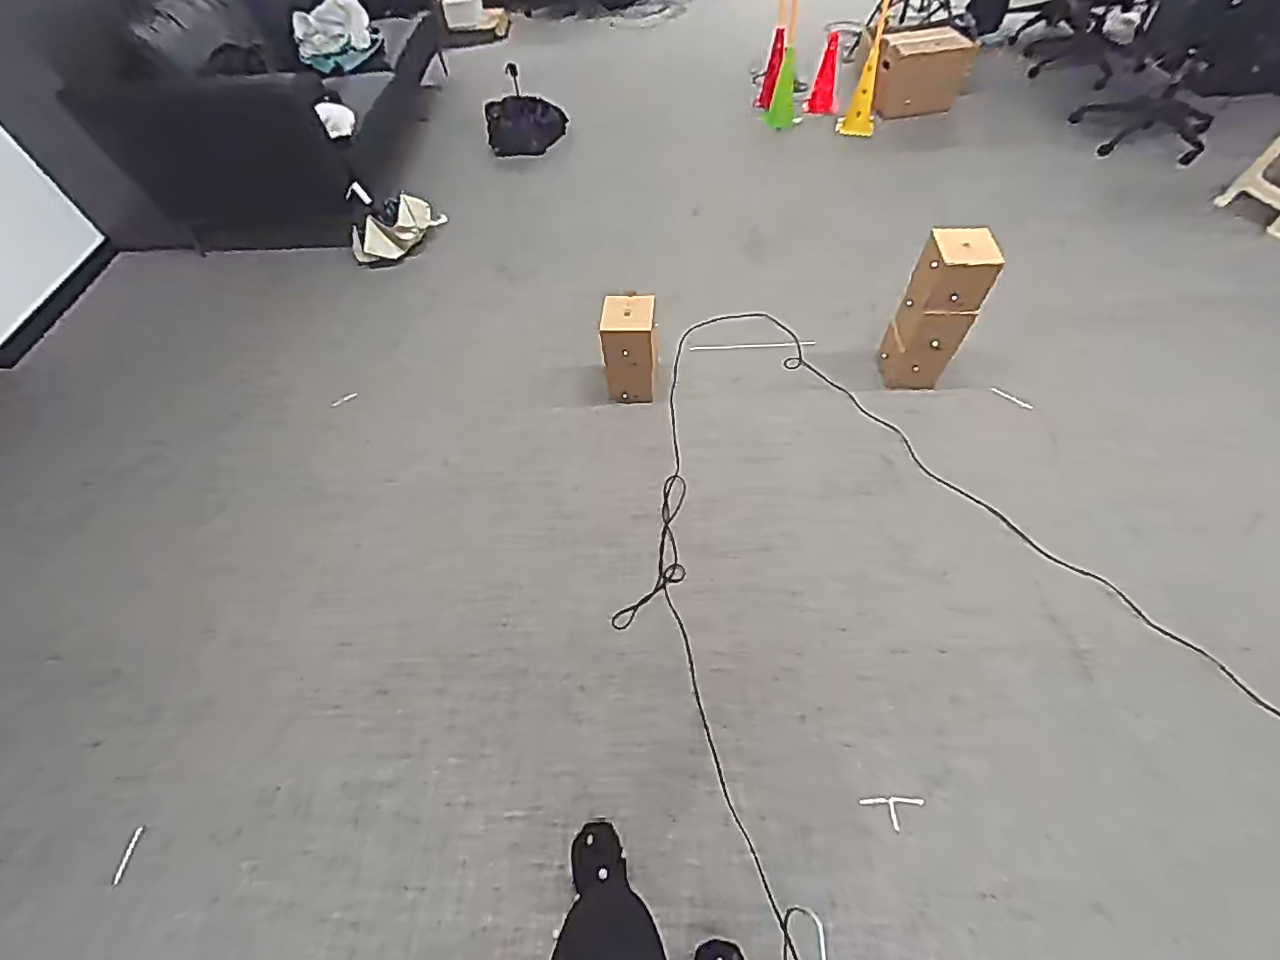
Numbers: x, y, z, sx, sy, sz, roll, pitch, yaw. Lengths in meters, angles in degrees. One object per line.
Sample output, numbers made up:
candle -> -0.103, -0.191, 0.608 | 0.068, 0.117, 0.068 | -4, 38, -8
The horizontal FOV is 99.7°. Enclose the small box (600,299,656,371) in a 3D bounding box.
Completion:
small box -> -0.034, -0.481, 1.807 | 0.168, 0.176, 0.179 | 2, 55, 6

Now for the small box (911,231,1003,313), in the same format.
small box -> 0.949, -0.629, 1.640 | 0.168, 0.176, 0.179 | 1, 56, 4

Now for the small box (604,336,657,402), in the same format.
small box -> -0.028, -0.401, 1.932 | 0.168, 0.176, 0.179 | 4, 56, 7

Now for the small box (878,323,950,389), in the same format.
small box -> 0.958, -0.436, 1.904 | 0.179, 0.176, 0.168 | 0, 56, 4

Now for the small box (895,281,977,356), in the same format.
small box -> 0.957, -0.530, 1.768 | 0.168, 0.176, 0.179 | 1, 56, 4
